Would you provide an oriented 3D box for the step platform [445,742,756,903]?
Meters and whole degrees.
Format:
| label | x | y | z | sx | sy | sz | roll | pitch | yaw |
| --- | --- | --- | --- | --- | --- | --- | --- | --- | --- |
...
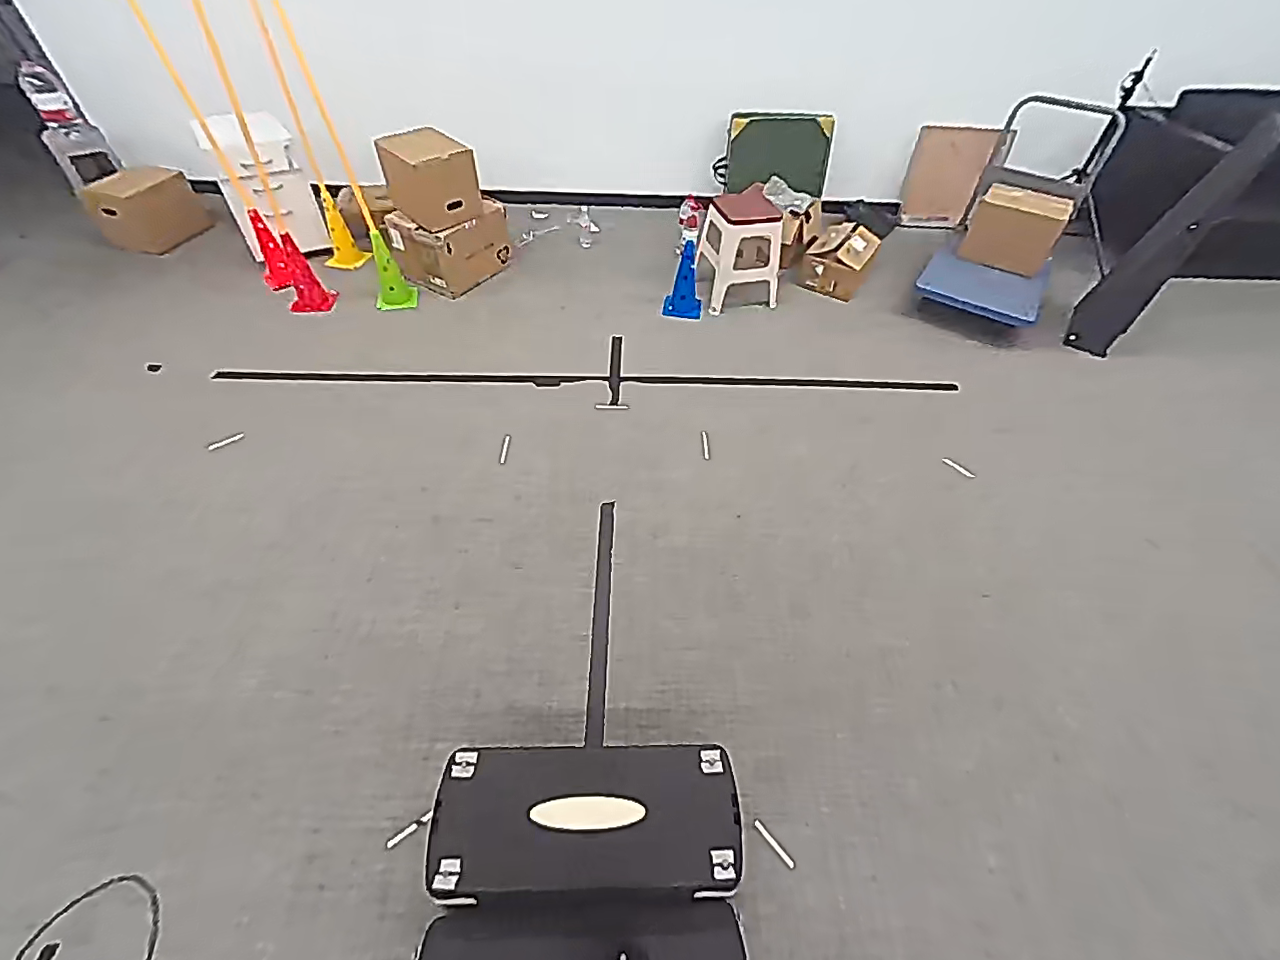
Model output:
| label | x | y | z | sx | sy | sz | roll | pitch | yaw |
| --- | --- | --- | --- | --- | --- | --- | --- | --- | --- |
| step platform | -0.084 | 0.777 | 1.243 | 0.684 | 0.204 | 0.286 | 1 | 48 | -4 |
